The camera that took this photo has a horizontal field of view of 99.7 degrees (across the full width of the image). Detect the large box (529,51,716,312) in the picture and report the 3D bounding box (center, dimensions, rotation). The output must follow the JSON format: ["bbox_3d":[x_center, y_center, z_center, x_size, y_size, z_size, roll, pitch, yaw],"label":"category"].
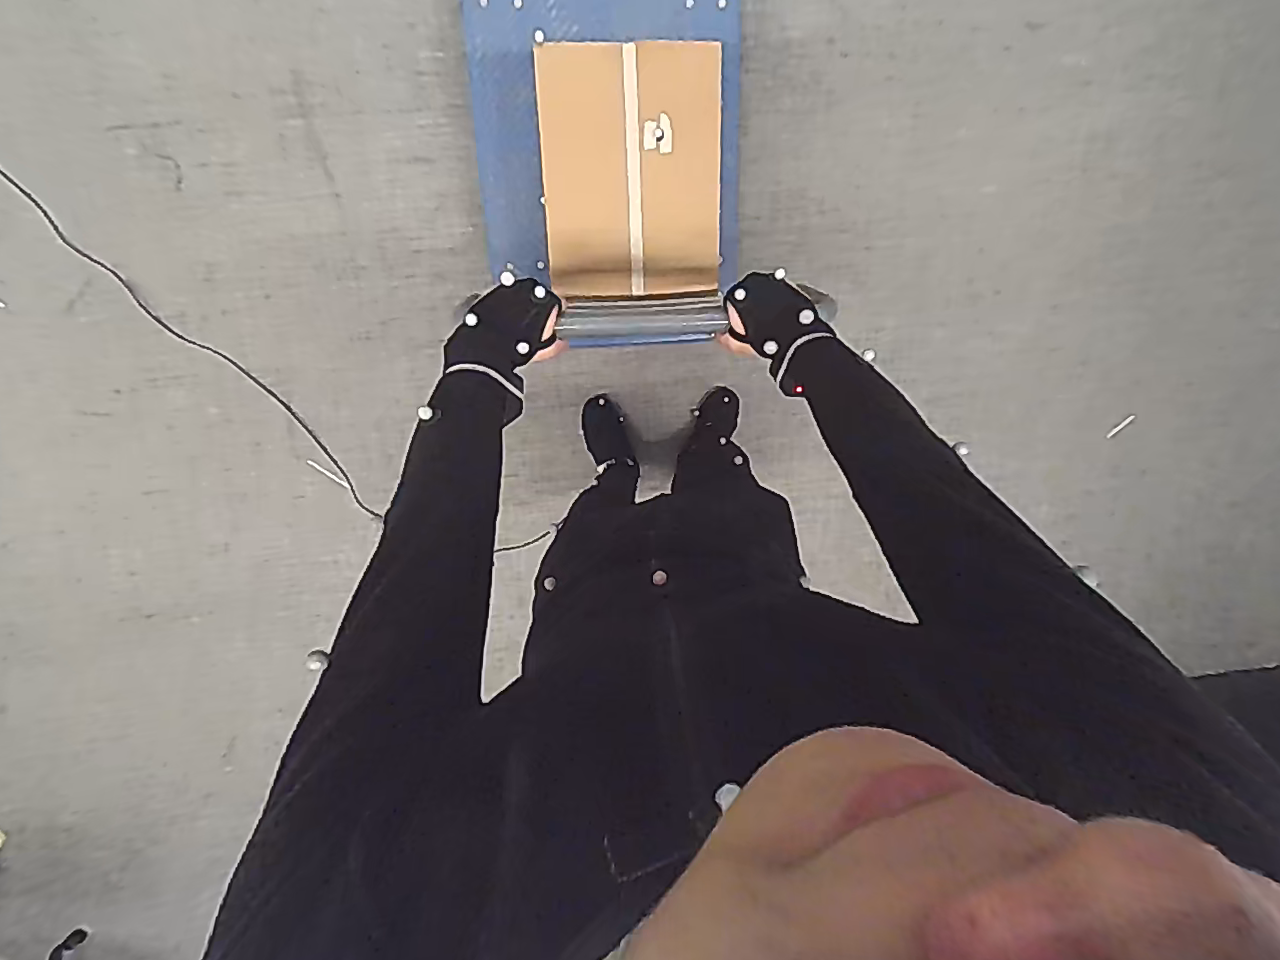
[{"bbox_3d":[-0.034,-0.562,1.099,0.320,0.320,0.408,-4,106,-5],"label":"large box"}]
